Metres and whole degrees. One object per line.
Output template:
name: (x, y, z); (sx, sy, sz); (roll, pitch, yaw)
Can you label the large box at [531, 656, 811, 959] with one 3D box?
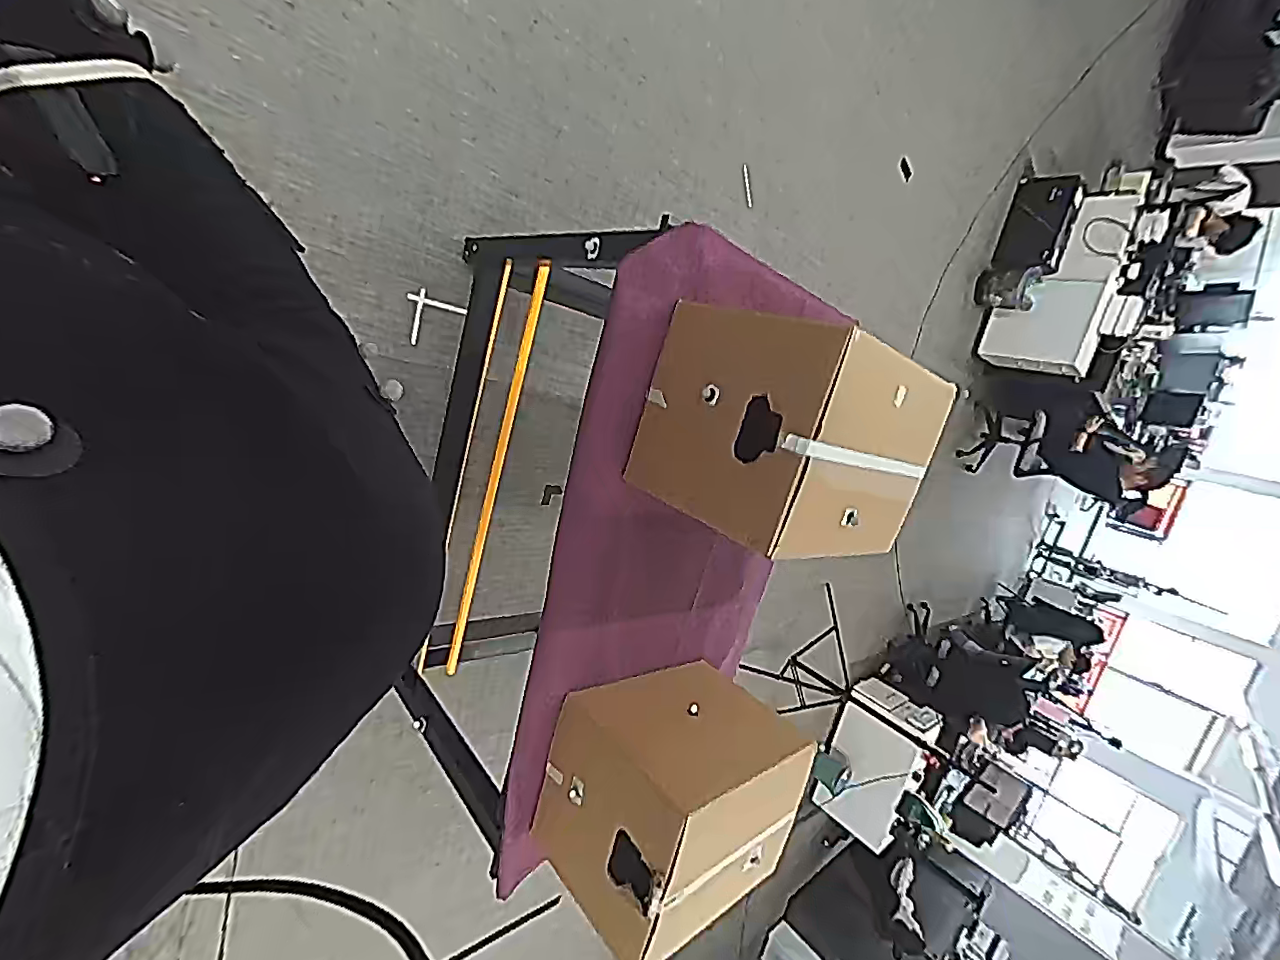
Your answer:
large box: (0.059, 0.583, 1.040); (0.408, 0.320, 0.320); (5, 105, -46)
